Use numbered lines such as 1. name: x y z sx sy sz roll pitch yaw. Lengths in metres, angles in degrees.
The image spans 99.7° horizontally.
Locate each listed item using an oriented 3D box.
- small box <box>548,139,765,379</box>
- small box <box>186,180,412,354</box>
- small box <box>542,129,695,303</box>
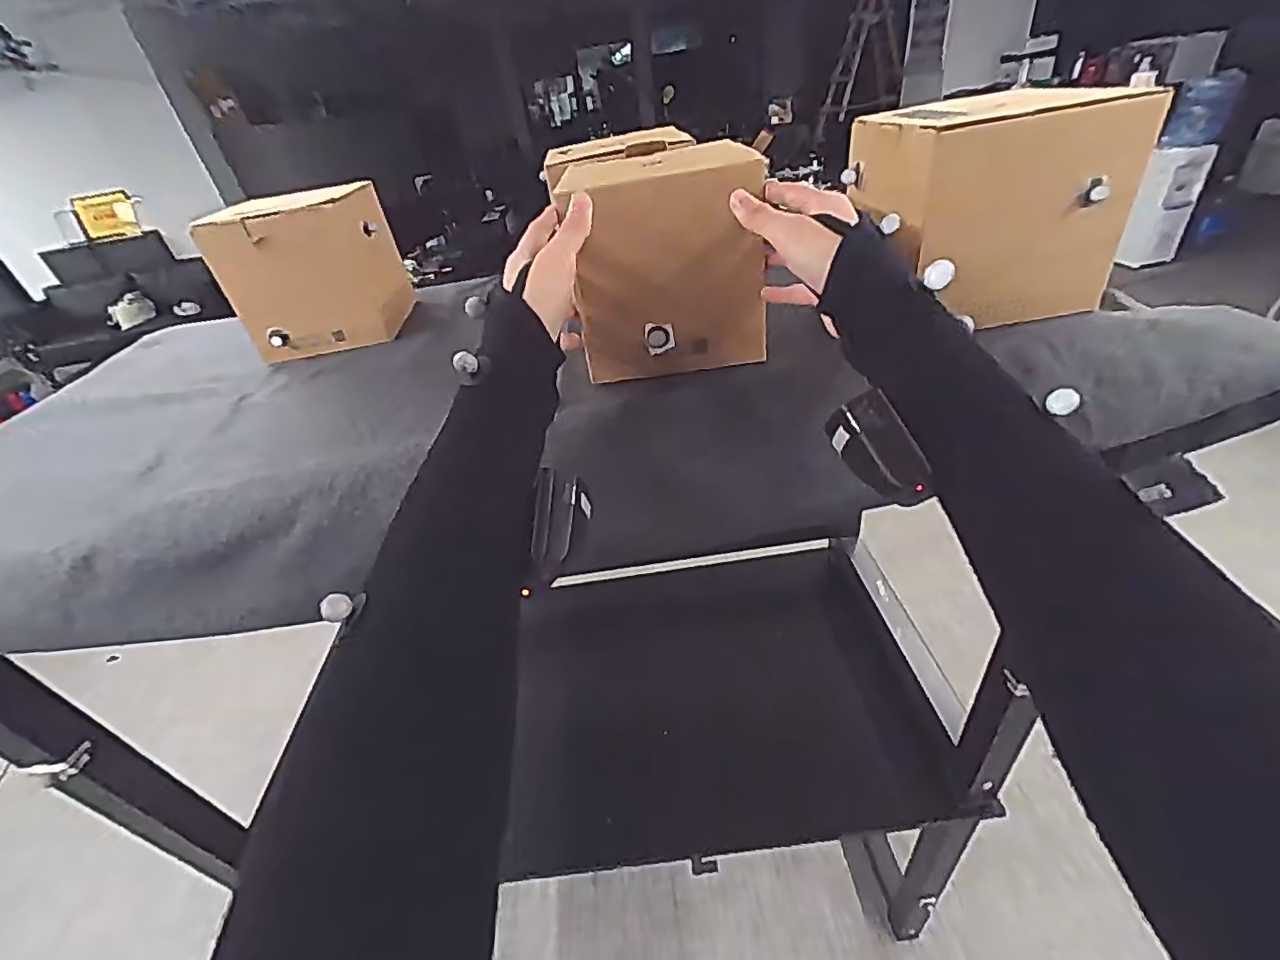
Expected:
1. small box: 0.019 -0.213 0.517 0.168 0.176 0.179 -8 35 3
2. small box: -0.422 -0.276 0.711 0.168 0.176 0.179 -11 36 -2
3. small box: -0.020 -0.347 0.713 0.179 0.176 0.168 -9 36 0
